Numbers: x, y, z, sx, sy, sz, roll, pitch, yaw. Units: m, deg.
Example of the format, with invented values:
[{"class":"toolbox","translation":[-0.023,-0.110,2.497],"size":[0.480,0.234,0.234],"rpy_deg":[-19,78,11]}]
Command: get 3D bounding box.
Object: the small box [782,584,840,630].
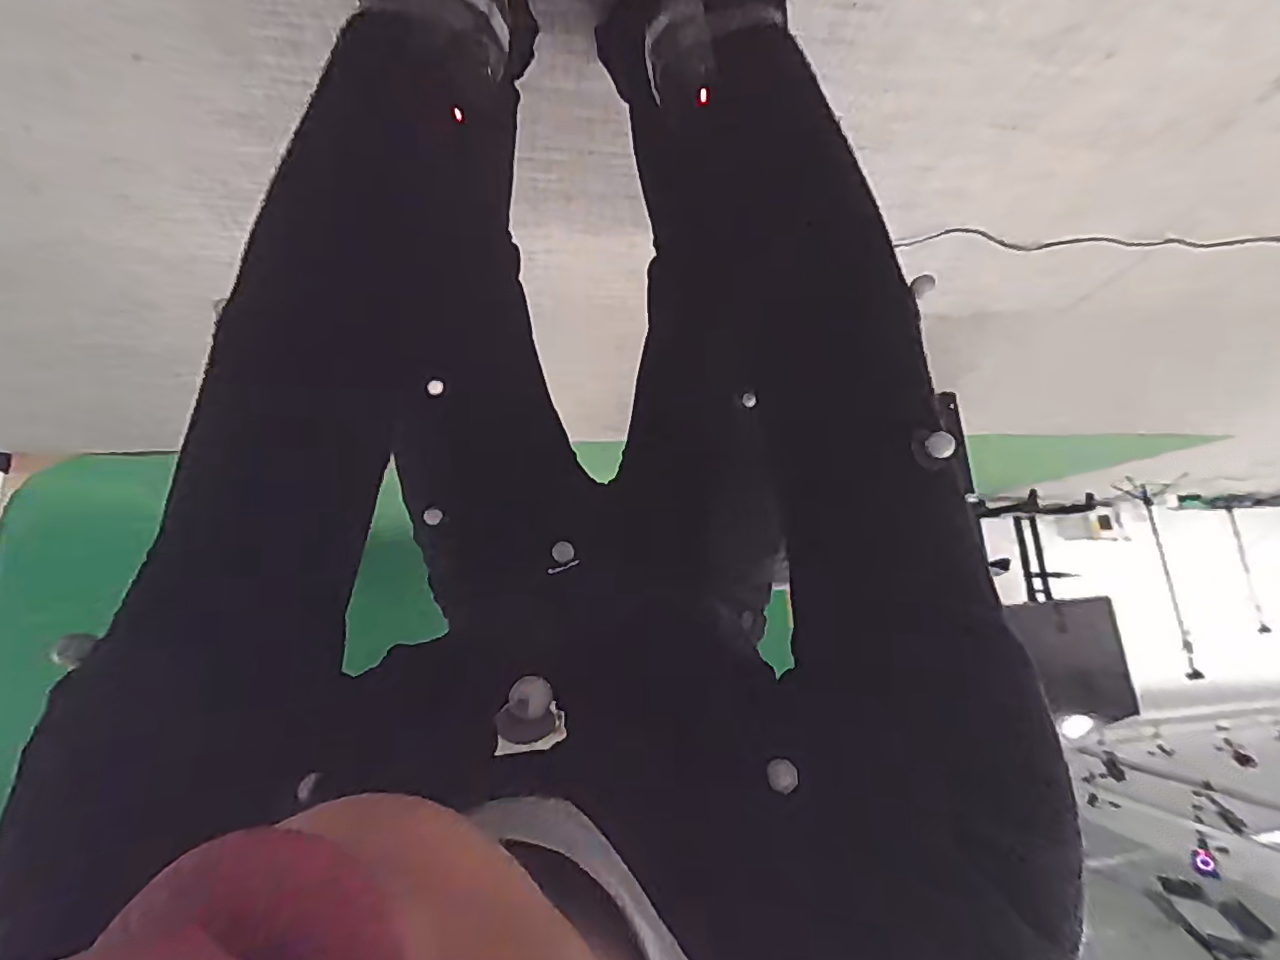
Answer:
[{"class":"small box","translation":[0.681,0.507,2.173],"size":[0.168,0.176,0.179],"rpy_deg":[0,169,-6]}]
